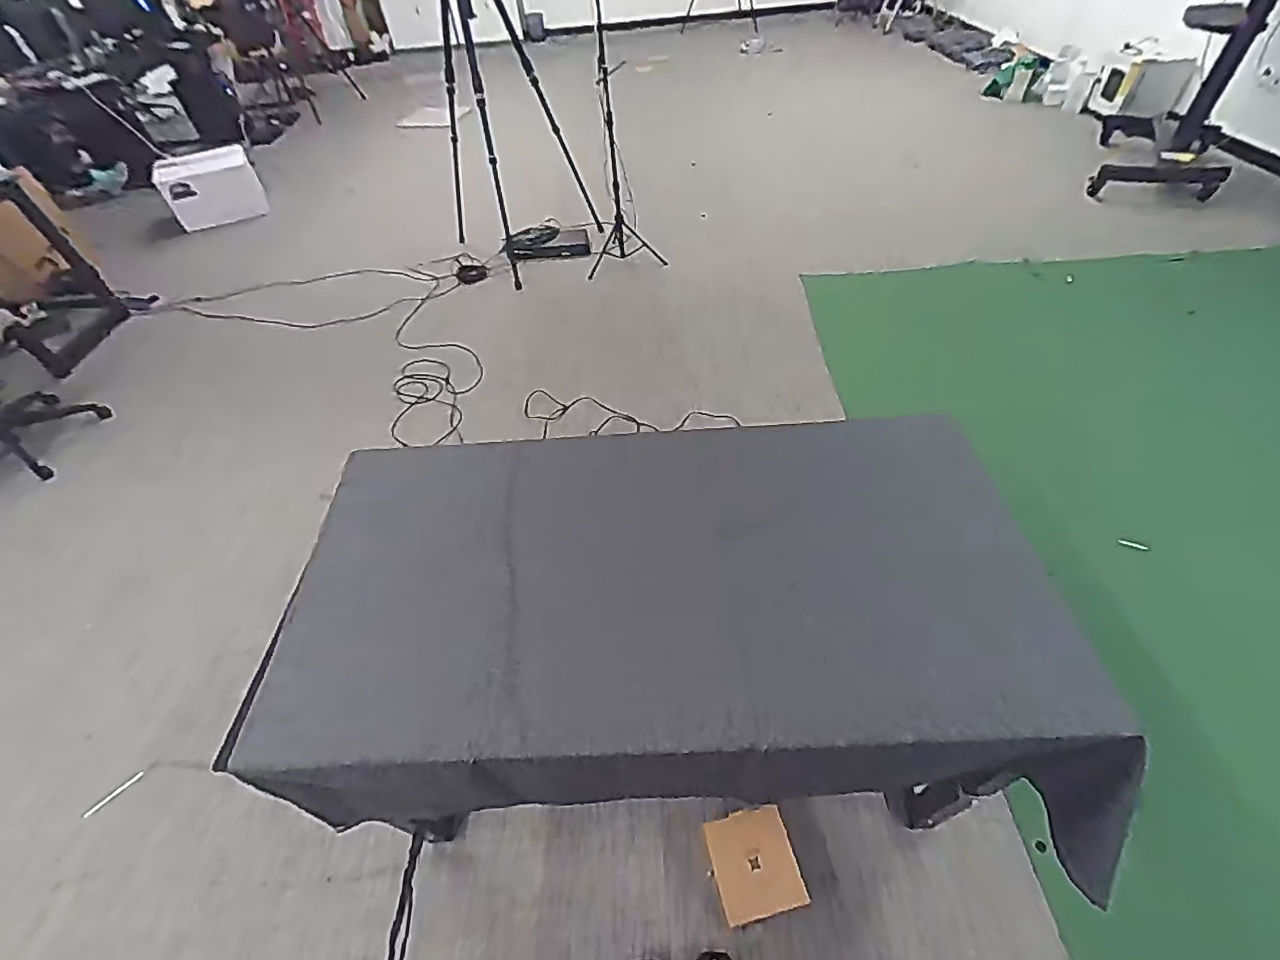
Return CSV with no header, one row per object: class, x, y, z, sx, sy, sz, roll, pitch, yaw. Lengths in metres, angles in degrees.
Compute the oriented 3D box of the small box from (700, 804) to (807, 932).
small box,0.227,0.815,1.134,0.168,0.176,0.179,-12,48,-6
